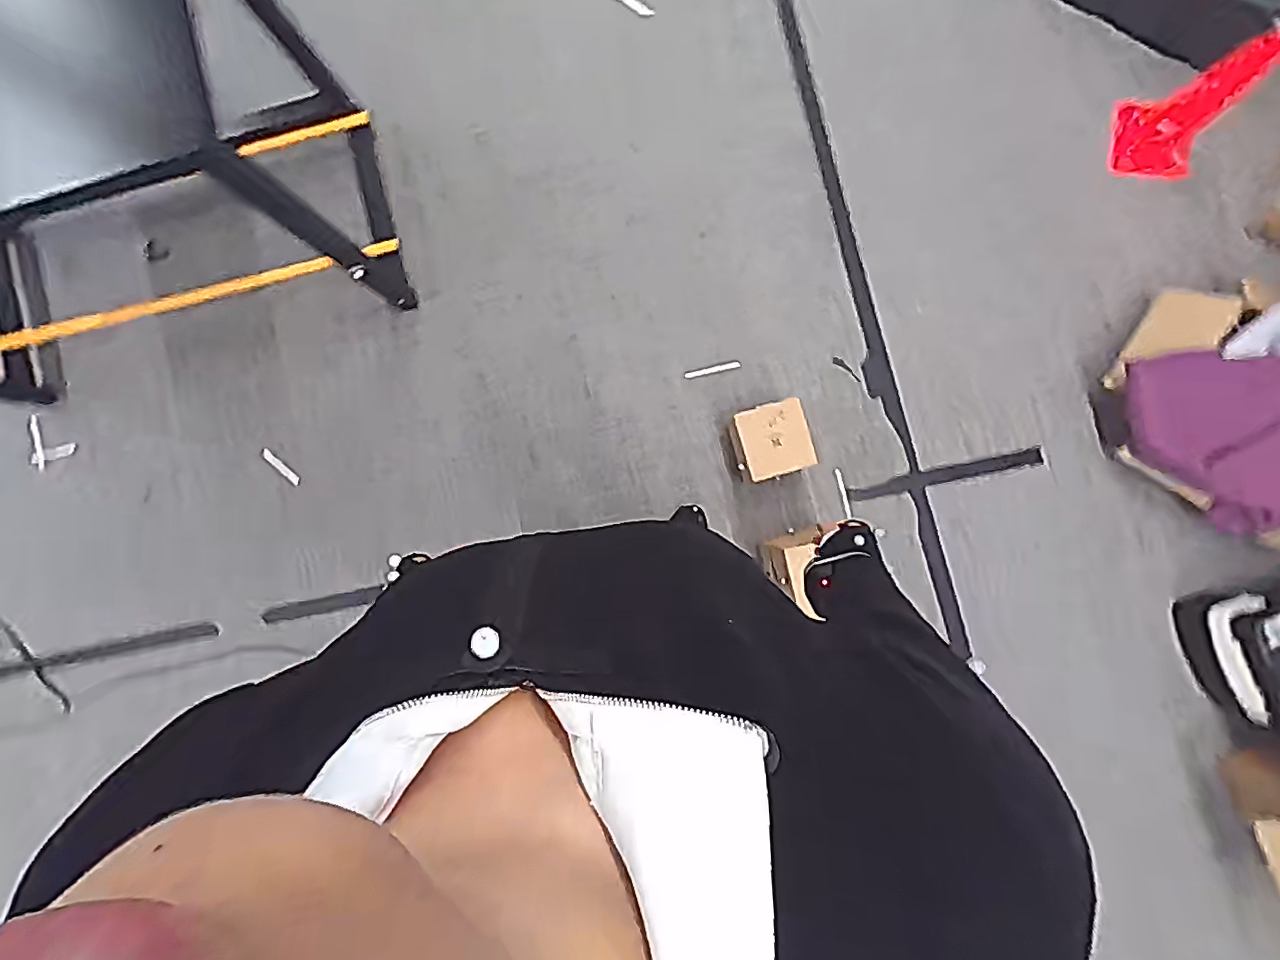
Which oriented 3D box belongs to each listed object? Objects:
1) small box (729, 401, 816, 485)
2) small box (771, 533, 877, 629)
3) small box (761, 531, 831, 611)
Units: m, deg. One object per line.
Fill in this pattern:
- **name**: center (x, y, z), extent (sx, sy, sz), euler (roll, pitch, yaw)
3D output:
- **small box**: center (0.337, -0.090, 1.405), extent (0.168, 0.176, 0.179), euler (-15, 88, 2)
- **small box**: center (0.407, 0.220, 1.229), extent (0.168, 0.176, 0.179), euler (-13, 89, 2)
- **small box**: center (0.416, 0.229, 1.394), extent (0.179, 0.176, 0.168), euler (-11, 88, 3)
